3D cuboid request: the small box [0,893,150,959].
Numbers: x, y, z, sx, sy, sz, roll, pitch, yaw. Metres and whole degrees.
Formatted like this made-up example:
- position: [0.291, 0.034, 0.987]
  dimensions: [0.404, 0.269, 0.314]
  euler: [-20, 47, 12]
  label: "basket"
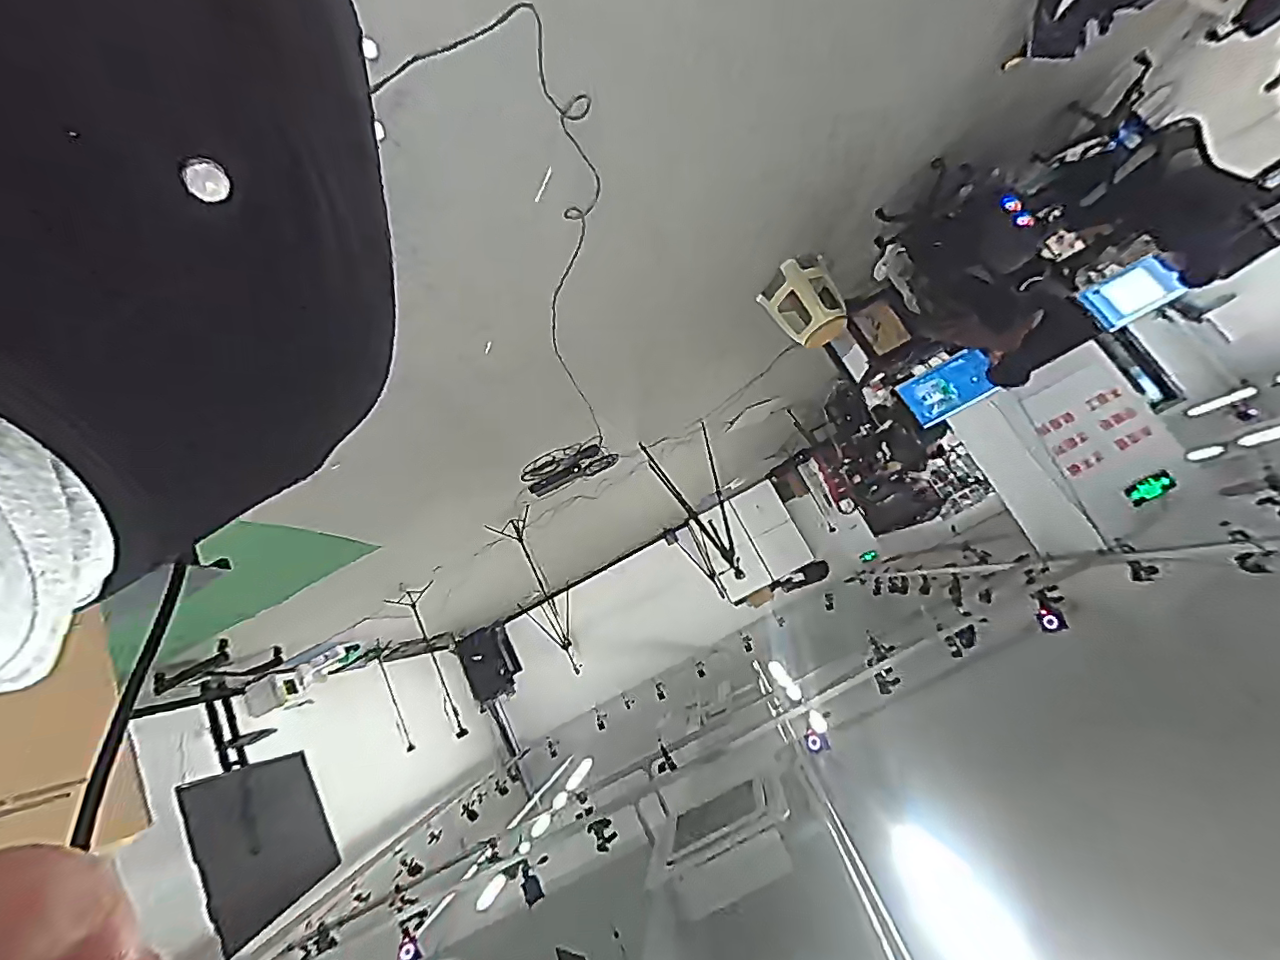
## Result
- position: [-1.264, 1.070, 1.198]
  dimensions: [0.179, 0.176, 0.168]
  euler: [-35, 166, 0]
  label: "small box"
